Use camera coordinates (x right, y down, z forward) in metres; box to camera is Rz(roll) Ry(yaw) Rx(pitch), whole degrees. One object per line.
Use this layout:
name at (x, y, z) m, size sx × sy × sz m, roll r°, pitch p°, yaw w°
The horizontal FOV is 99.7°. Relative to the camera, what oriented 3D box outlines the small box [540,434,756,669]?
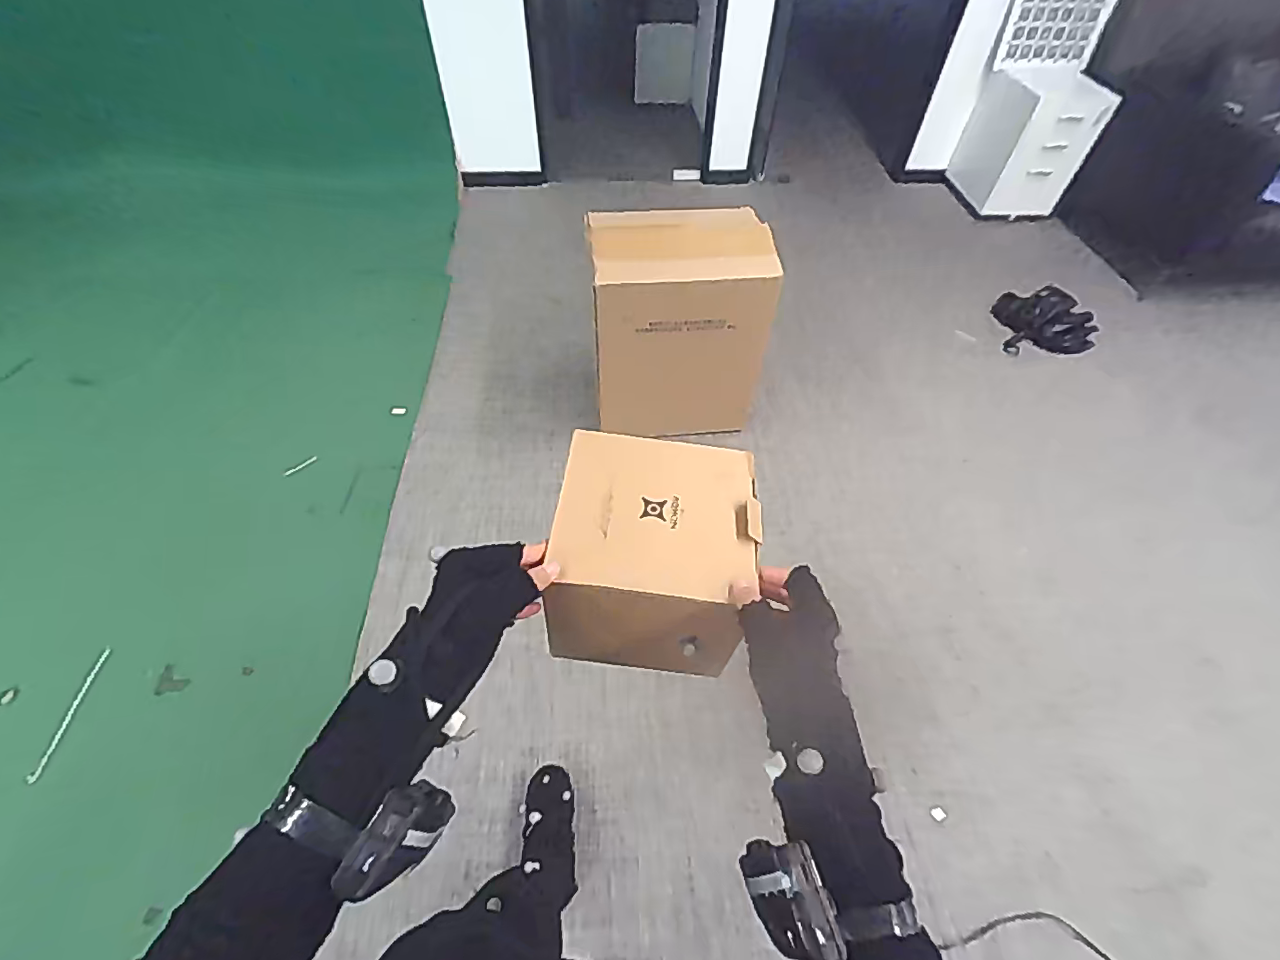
small box at (0.008, 0.077, 0.540) m, size 0.179 × 0.176 × 0.168 m, roll 5°, pitch 50°, yaw 0°
